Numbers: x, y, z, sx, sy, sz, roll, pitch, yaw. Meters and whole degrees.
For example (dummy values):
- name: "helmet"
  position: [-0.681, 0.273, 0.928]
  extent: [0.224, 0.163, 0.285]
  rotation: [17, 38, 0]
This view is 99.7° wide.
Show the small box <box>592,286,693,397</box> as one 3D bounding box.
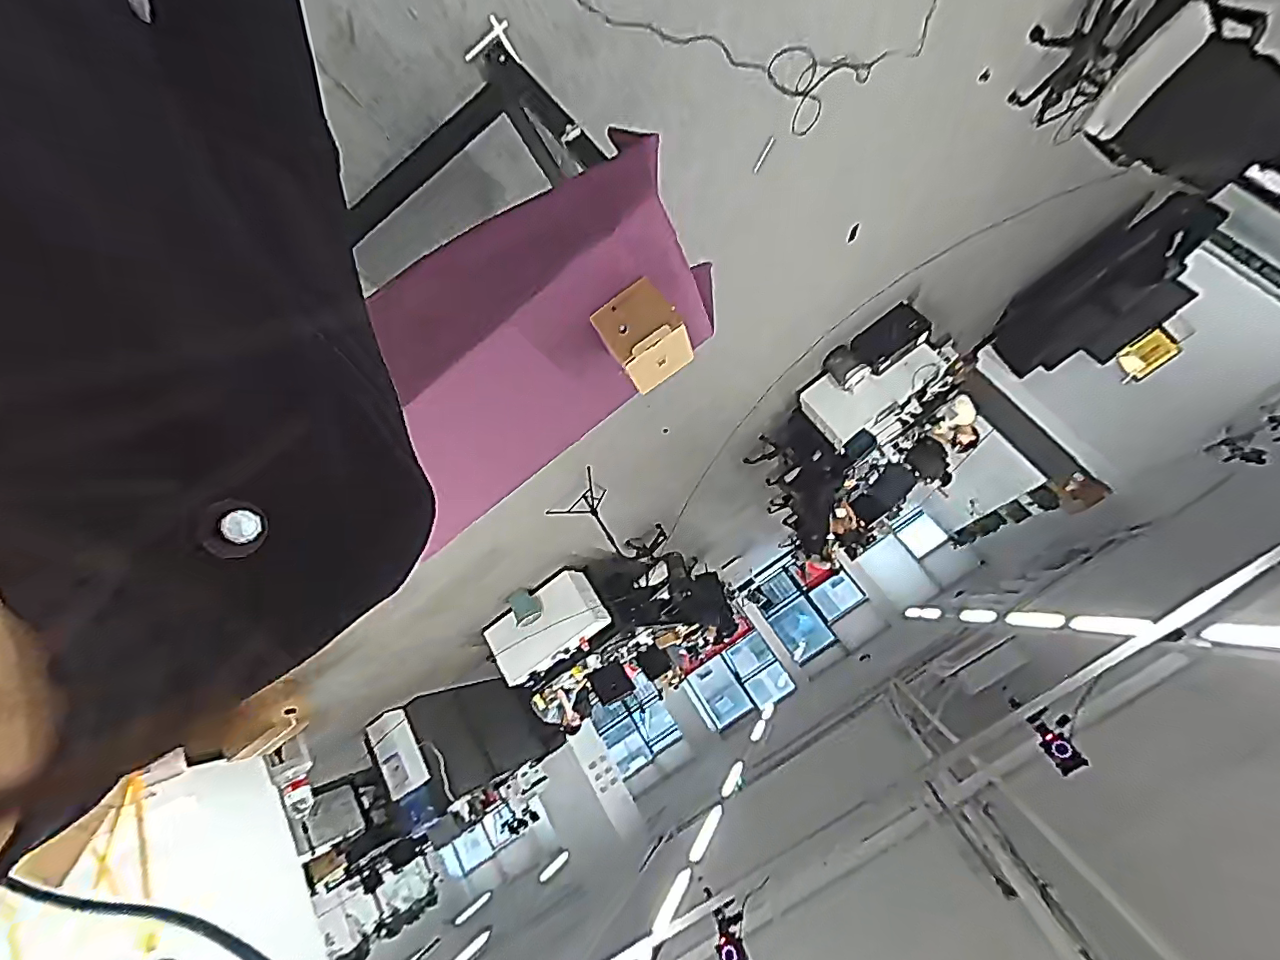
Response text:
- name: "small box"
  position: [0.005, -0.343, 1.324]
  extent: [0.168, 0.176, 0.179]
  rotation: [-35, 159, 3]
